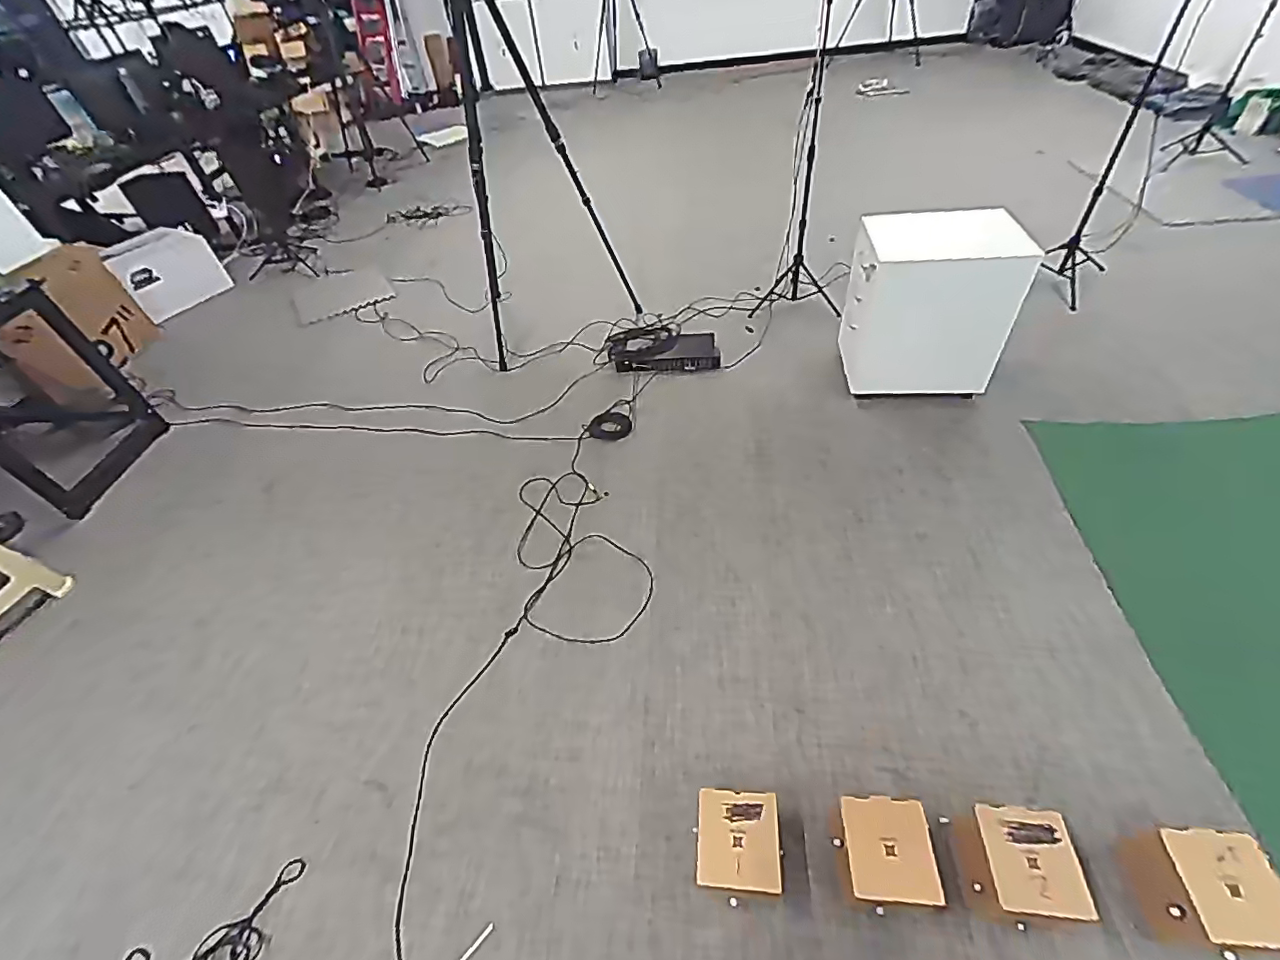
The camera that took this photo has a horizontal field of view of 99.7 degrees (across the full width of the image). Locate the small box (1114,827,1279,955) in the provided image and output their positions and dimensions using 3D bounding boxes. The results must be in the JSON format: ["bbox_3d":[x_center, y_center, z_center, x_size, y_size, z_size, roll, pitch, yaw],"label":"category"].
[{"bbox_3d":[1.083,0.793,1.042,0.168,0.176,0.179,1,47,7],"label":"small box"}]

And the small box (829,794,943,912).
[{"bbox_3d":[0.500,0.779,1.128,0.168,0.176,0.179,-1,46,7],"label":"small box"}]

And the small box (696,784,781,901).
[{"bbox_3d":[0.208,0.779,1.163,0.168,0.176,0.179,1,48,9],"label":"small box"}]
